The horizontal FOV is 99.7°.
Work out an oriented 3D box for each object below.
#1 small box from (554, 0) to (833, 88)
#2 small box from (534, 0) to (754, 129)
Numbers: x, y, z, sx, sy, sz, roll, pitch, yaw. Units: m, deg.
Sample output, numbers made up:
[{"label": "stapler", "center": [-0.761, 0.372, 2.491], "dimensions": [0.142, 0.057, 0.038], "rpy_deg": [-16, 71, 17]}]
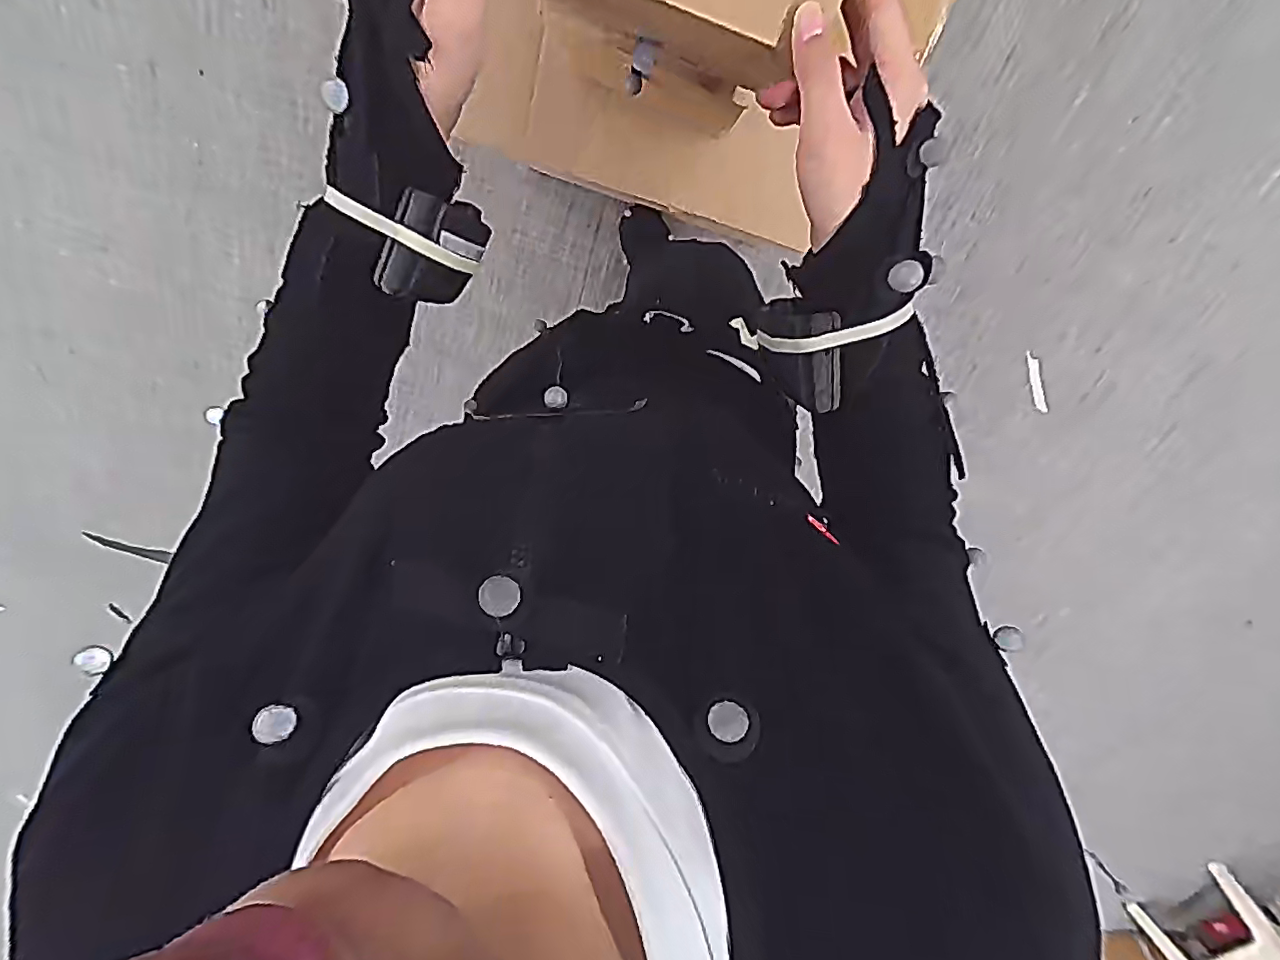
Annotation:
[{"label": "small box", "center": [0.033, -0.335, 0.276], "dimensions": [0.168, 0.176, 0.179], "rpy_deg": [16, 121, -8]}, {"label": "small box", "center": [0.033, -0.421, 0.453], "dimensions": [0.179, 0.176, 0.168], "rpy_deg": [20, 115, -6]}]
